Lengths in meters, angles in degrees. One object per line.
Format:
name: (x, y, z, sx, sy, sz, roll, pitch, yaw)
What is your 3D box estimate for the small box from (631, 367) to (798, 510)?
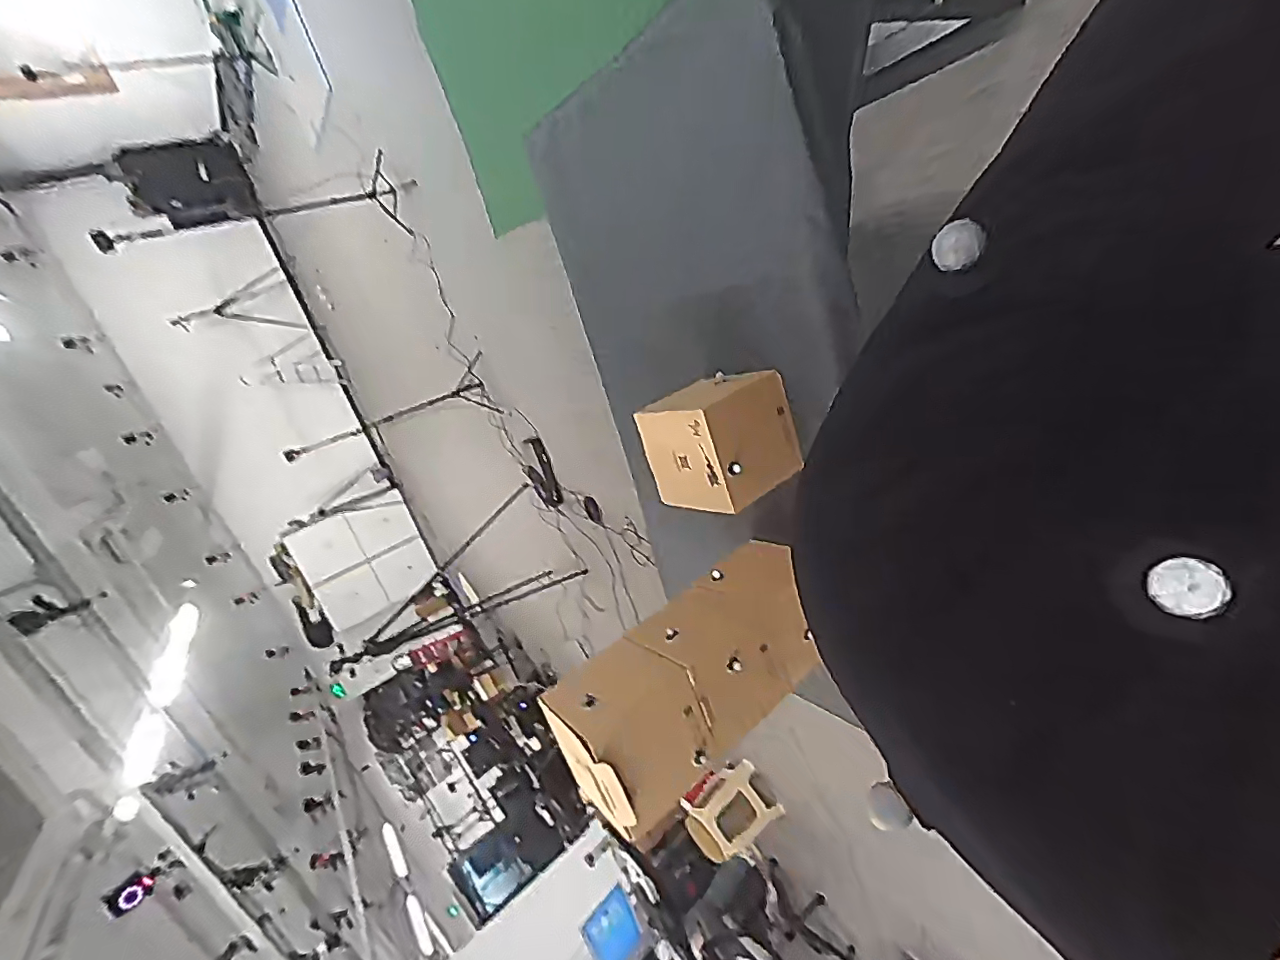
small box: (0.119, -0.071, 0.864, 0.179, 0.176, 0.168, 7, 122, 56)

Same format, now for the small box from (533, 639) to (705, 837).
small box: (-0.025, 0.361, 0.798, 0.179, 0.176, 0.168, 1, 115, 58)

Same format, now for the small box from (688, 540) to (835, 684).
small box: (0.222, 0.221, 0.960, 0.179, 0.176, 0.168, 4, 119, 56)

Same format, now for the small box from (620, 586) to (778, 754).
small box: (0.101, 0.292, 0.878, 0.179, 0.176, 0.168, 3, 117, 58)
